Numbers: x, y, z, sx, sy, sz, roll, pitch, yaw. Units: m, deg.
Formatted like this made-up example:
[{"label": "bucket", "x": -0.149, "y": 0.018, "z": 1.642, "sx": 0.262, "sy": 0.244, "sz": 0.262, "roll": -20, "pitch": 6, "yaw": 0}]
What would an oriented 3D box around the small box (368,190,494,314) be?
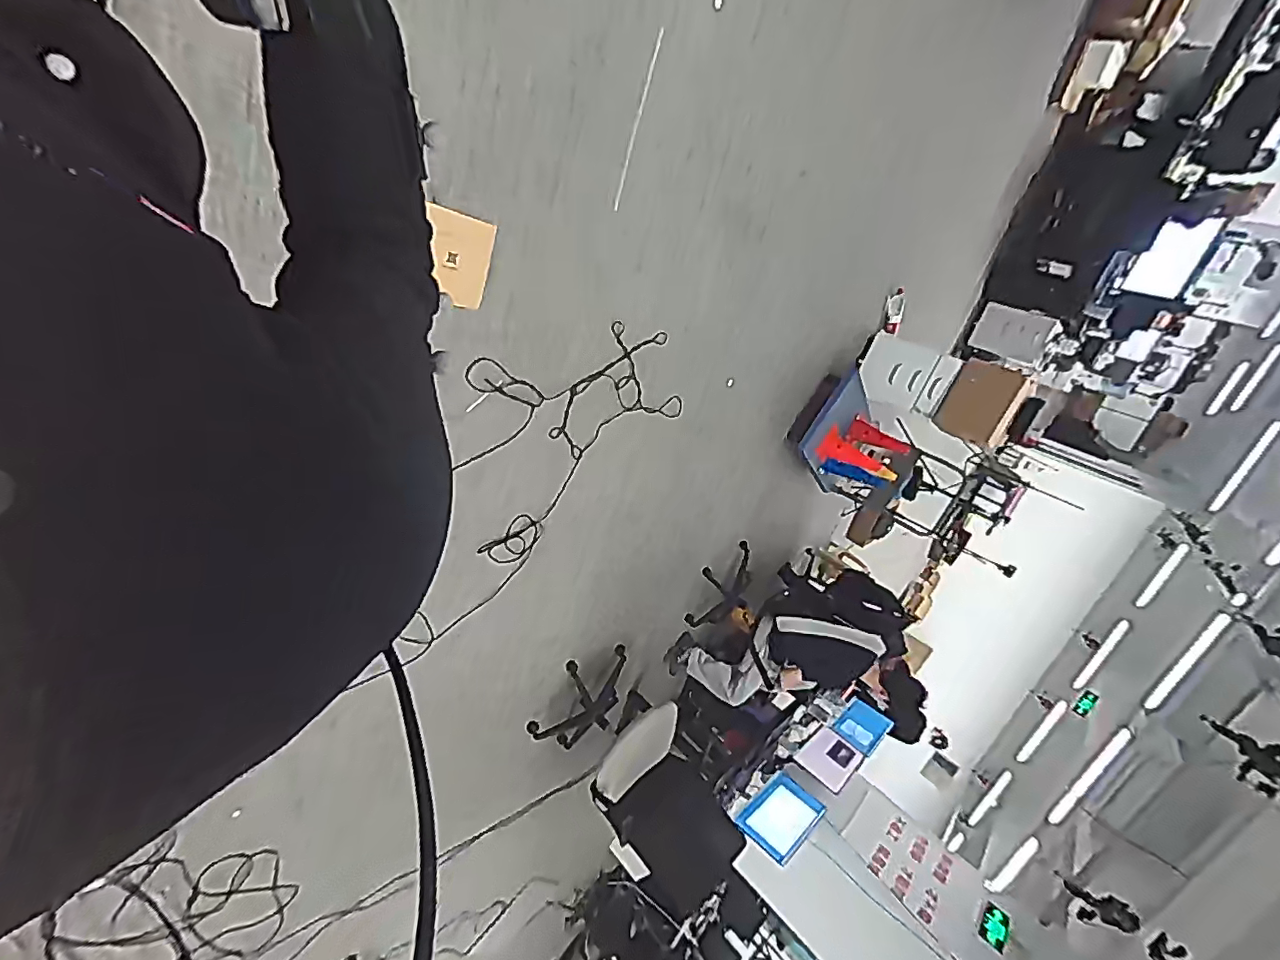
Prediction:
[{"label": "small box", "x": -0.425, "y": -0.457, "z": 1.089, "sx": 0.168, "sy": 0.176, "sz": 0.179, "roll": -6, "pitch": 120, "yaw": -50}]
